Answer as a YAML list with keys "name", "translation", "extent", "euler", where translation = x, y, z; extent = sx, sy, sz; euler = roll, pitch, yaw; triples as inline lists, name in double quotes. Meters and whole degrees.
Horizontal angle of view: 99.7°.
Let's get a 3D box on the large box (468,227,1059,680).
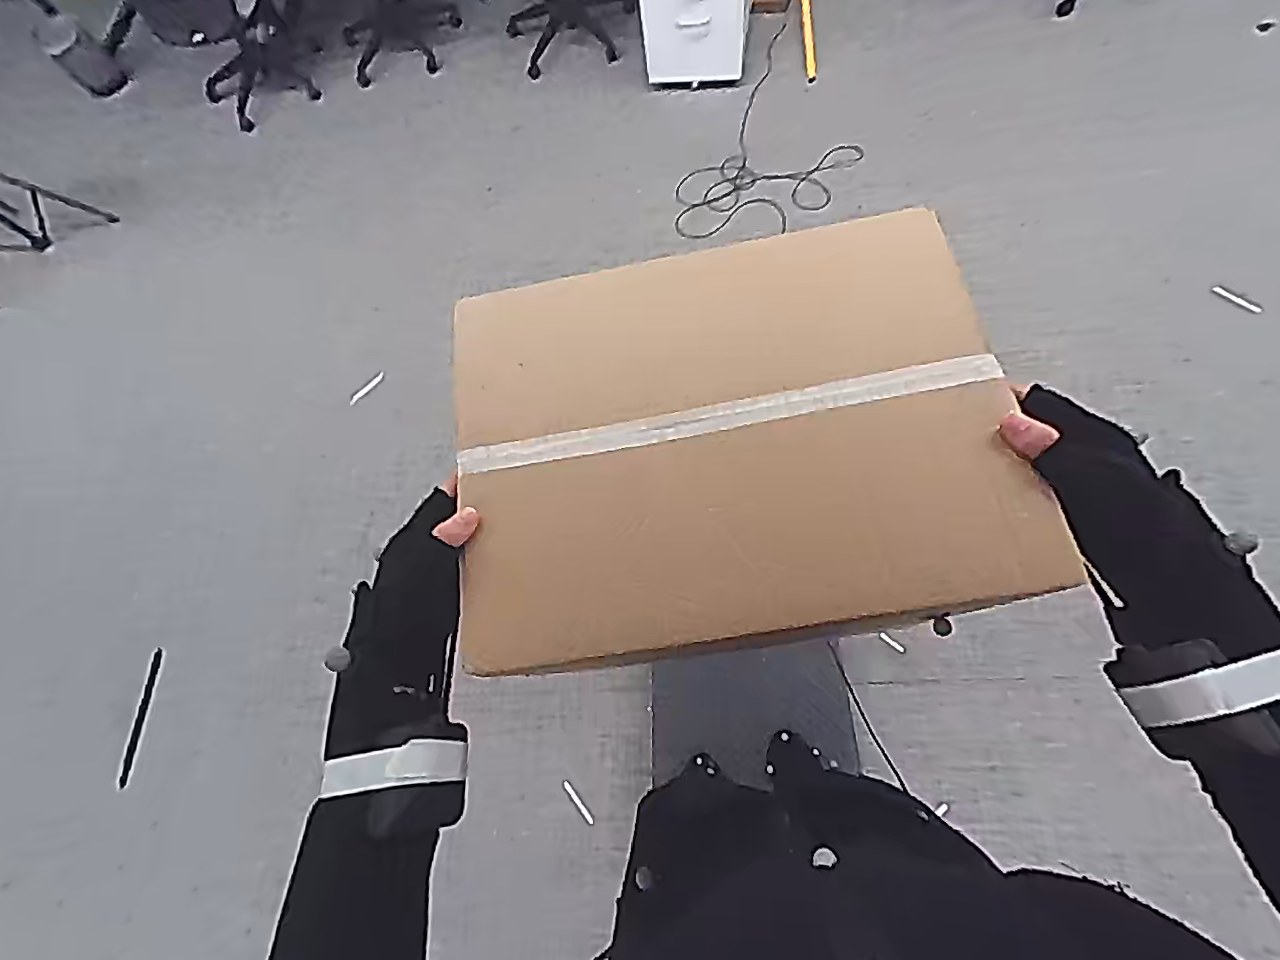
- name: "large box"
  translation: [0.082, 0.011, 0.556]
  extent: [0.408, 0.320, 0.320]
  euler: [-10, 69, 5]
